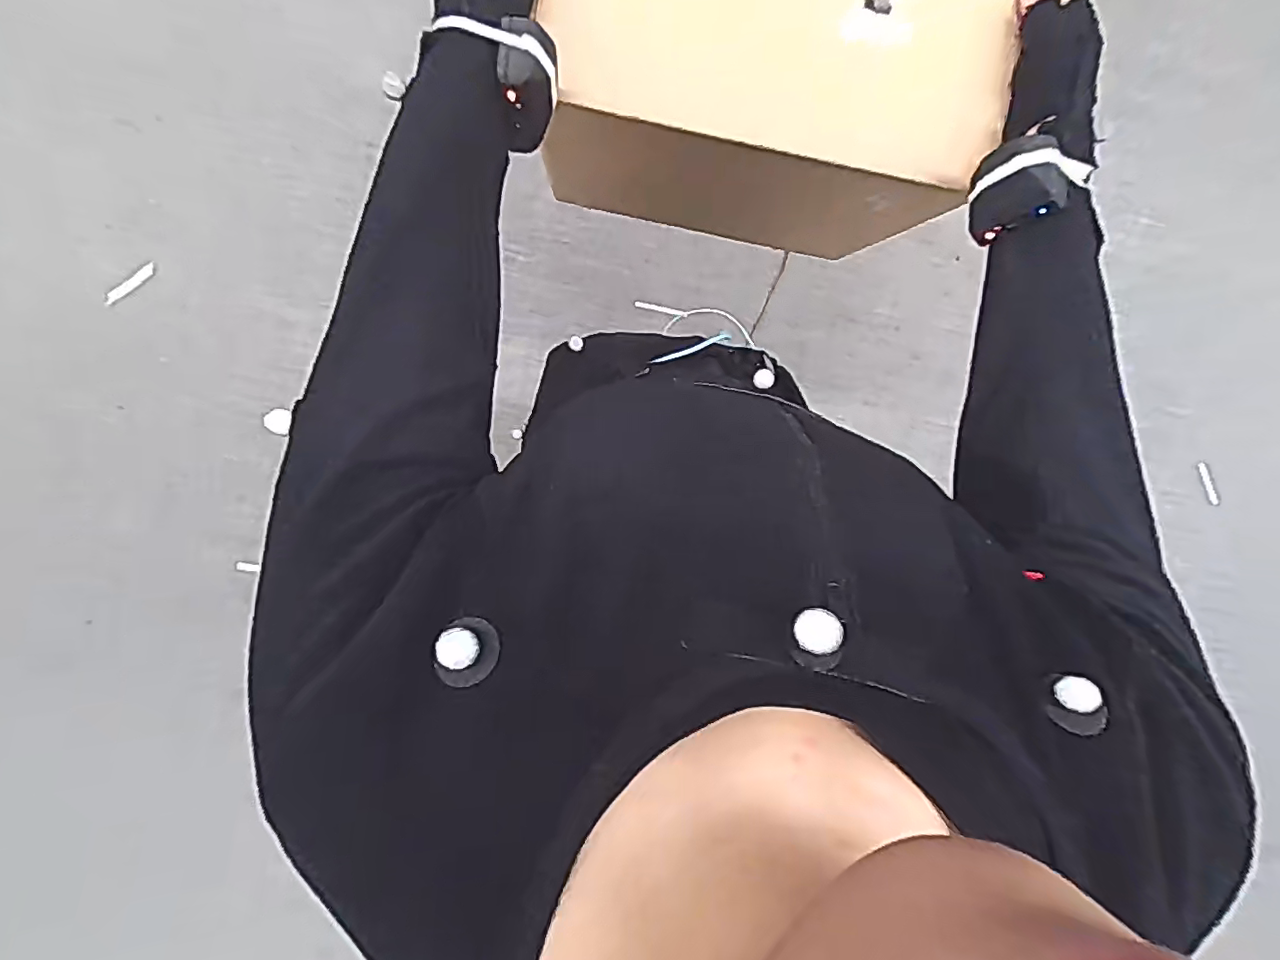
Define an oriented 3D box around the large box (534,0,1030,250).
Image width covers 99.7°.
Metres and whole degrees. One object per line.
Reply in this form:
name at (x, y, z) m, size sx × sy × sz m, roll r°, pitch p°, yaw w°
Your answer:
large box at (0.119, -0.468, 0.574) m, size 0.408 × 0.320 × 0.320 m, roll 9°, pitch 103°, yaw -7°
